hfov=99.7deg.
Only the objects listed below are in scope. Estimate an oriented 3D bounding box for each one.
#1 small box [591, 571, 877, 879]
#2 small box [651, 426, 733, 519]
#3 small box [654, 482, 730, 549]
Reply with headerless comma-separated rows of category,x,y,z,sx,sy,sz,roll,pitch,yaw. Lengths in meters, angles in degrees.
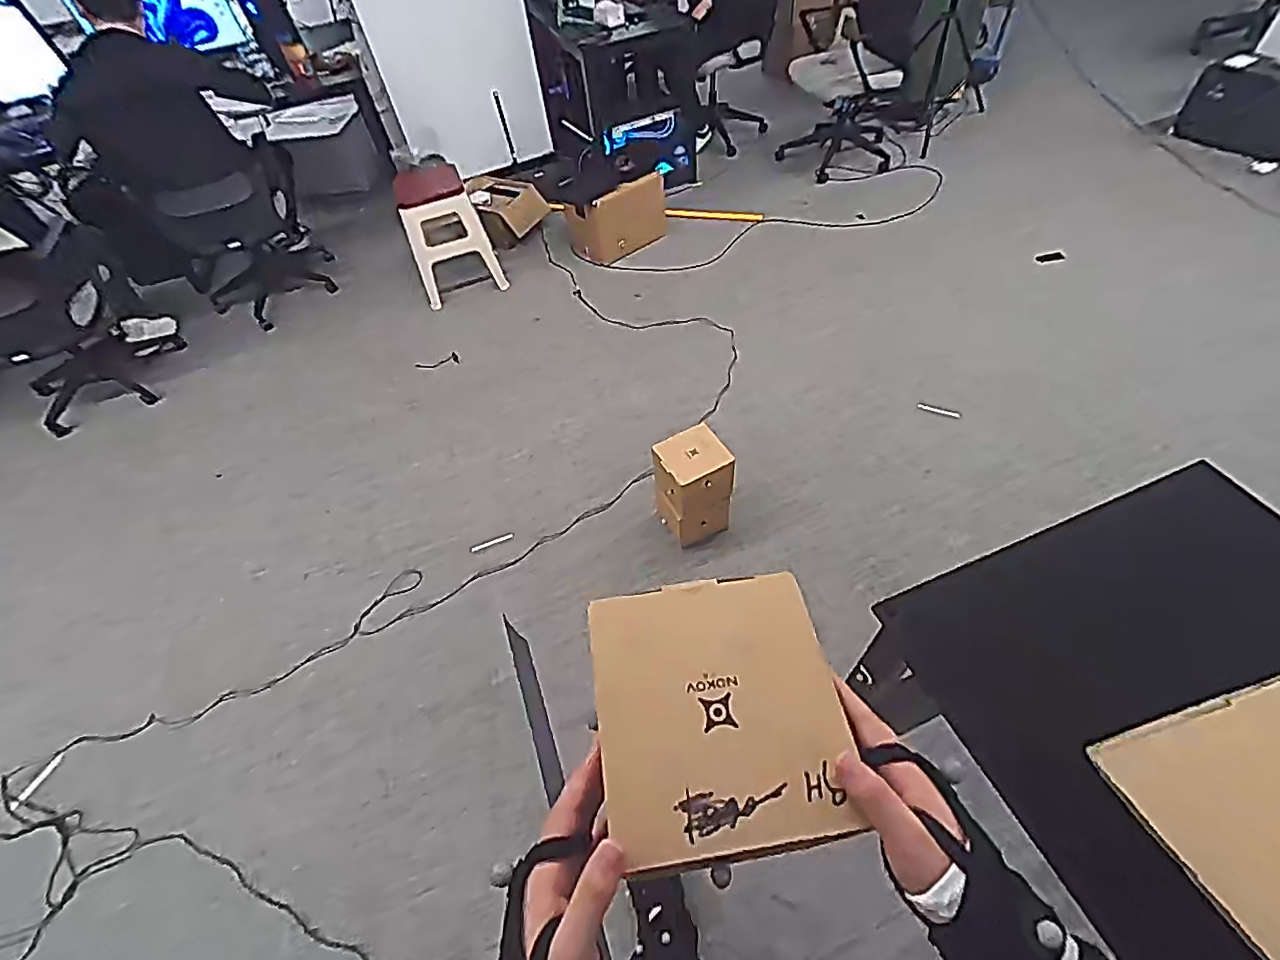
small box,0.054,0.199,0.436,0.168,0.176,0.179,-8,52,-4
small box,0.148,-0.018,1.548,0.179,0.176,0.168,-26,55,-14
small box,0.159,0.083,1.674,0.179,0.176,0.168,-24,54,-11
